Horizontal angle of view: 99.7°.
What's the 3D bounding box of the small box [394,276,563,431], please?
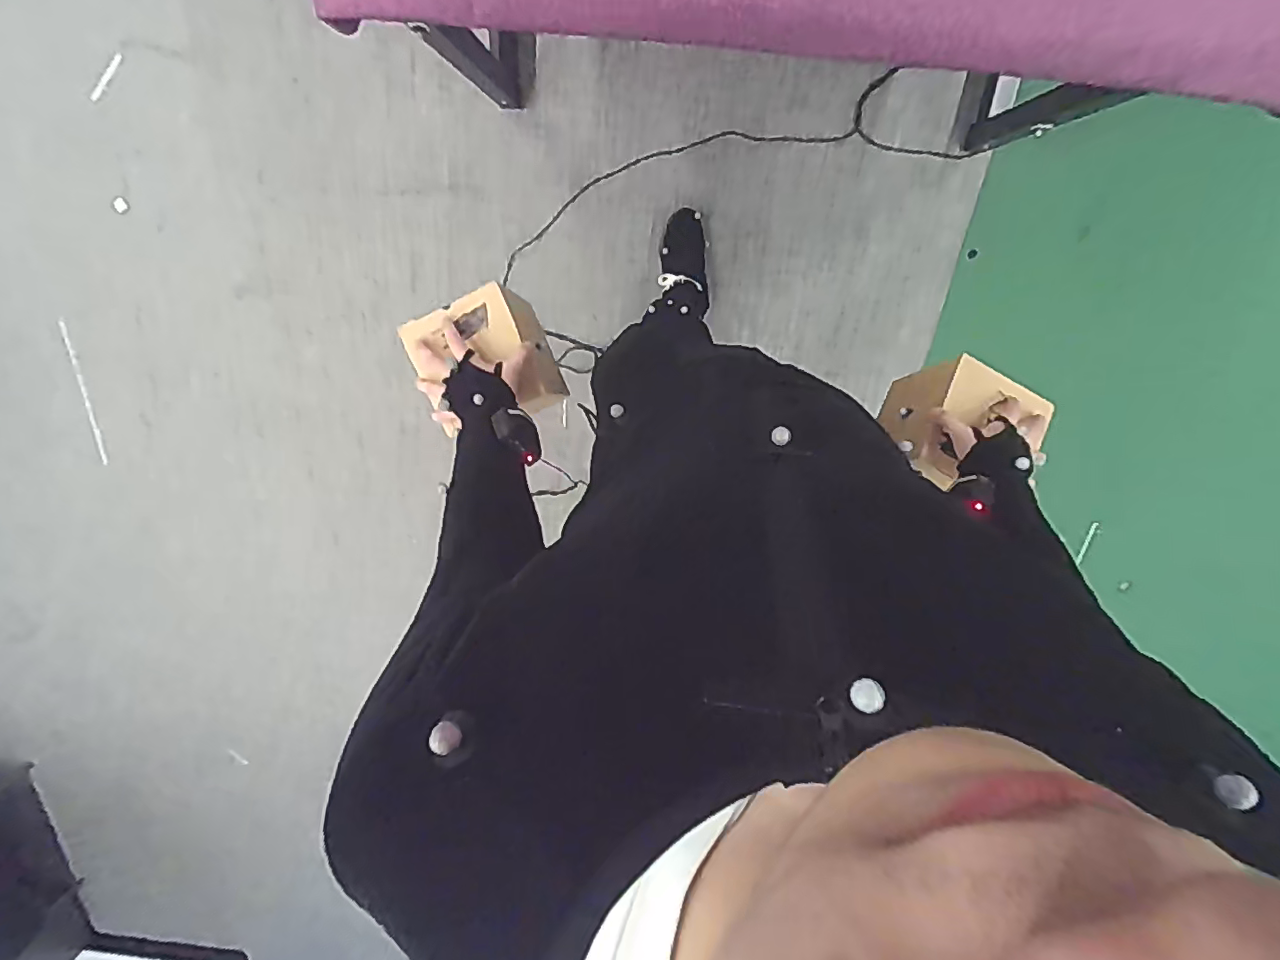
[{"bbox_3d":[-0.242,-0.189,0.851,0.168,0.176,0.179,-23,96,8],"label":"small box"}]
